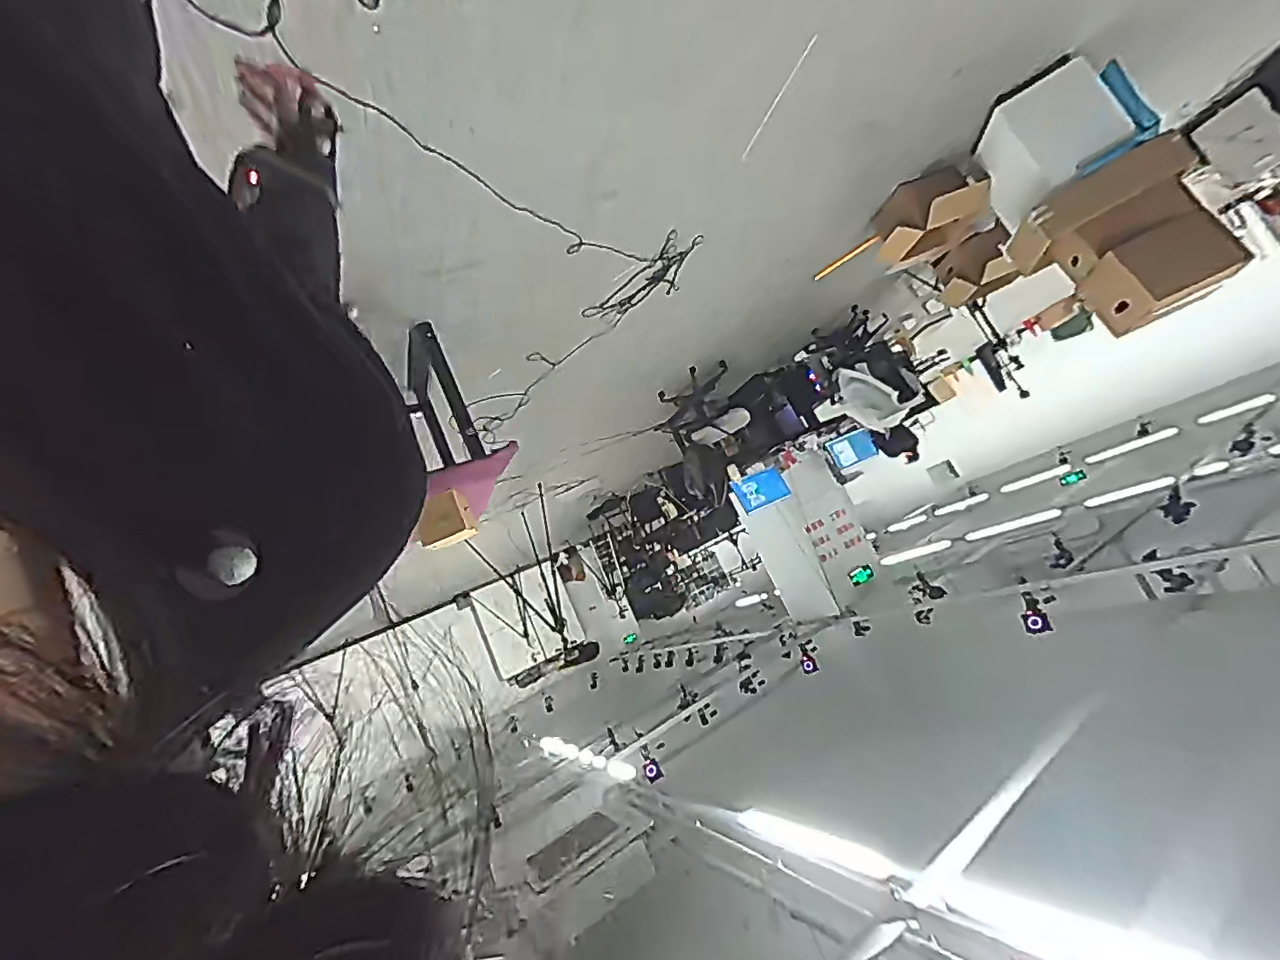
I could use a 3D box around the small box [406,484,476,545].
[{"bbox_3d":[-0.762,0.132,2.071,0.179,0.176,0.168,-24,171,-6],"label":"small box"}]
